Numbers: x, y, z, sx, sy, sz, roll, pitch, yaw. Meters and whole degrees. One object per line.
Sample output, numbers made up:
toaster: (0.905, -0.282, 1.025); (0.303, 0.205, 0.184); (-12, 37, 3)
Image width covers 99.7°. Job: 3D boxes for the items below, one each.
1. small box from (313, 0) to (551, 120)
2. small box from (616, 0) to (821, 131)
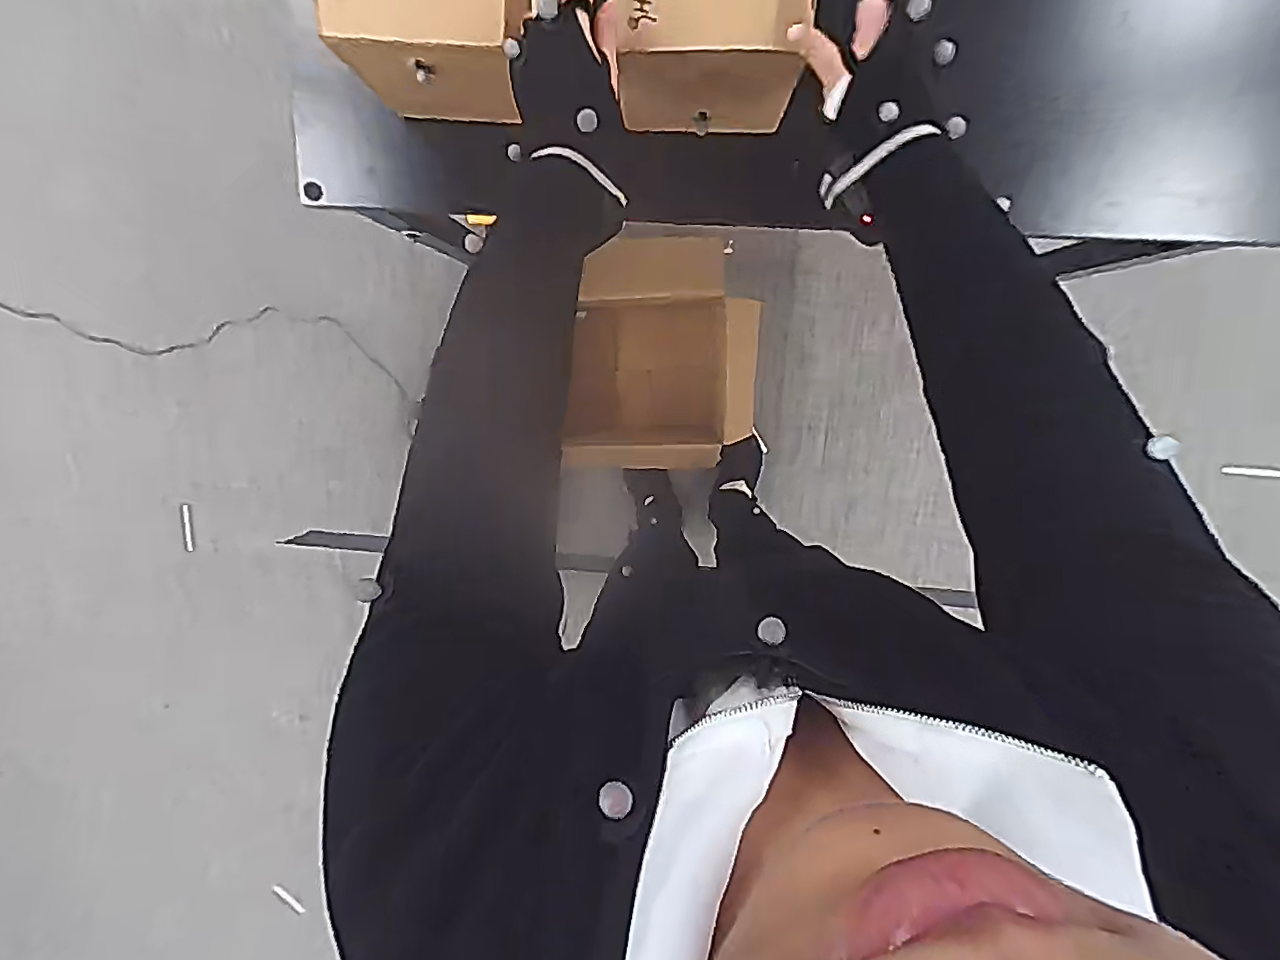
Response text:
small box: (-0.193, -0.484, 0.536); (0.179, 0.176, 0.168); (4, 103, 1)
small box: (0.070, -0.465, 0.527); (0.179, 0.176, 0.168); (2, 102, 2)
